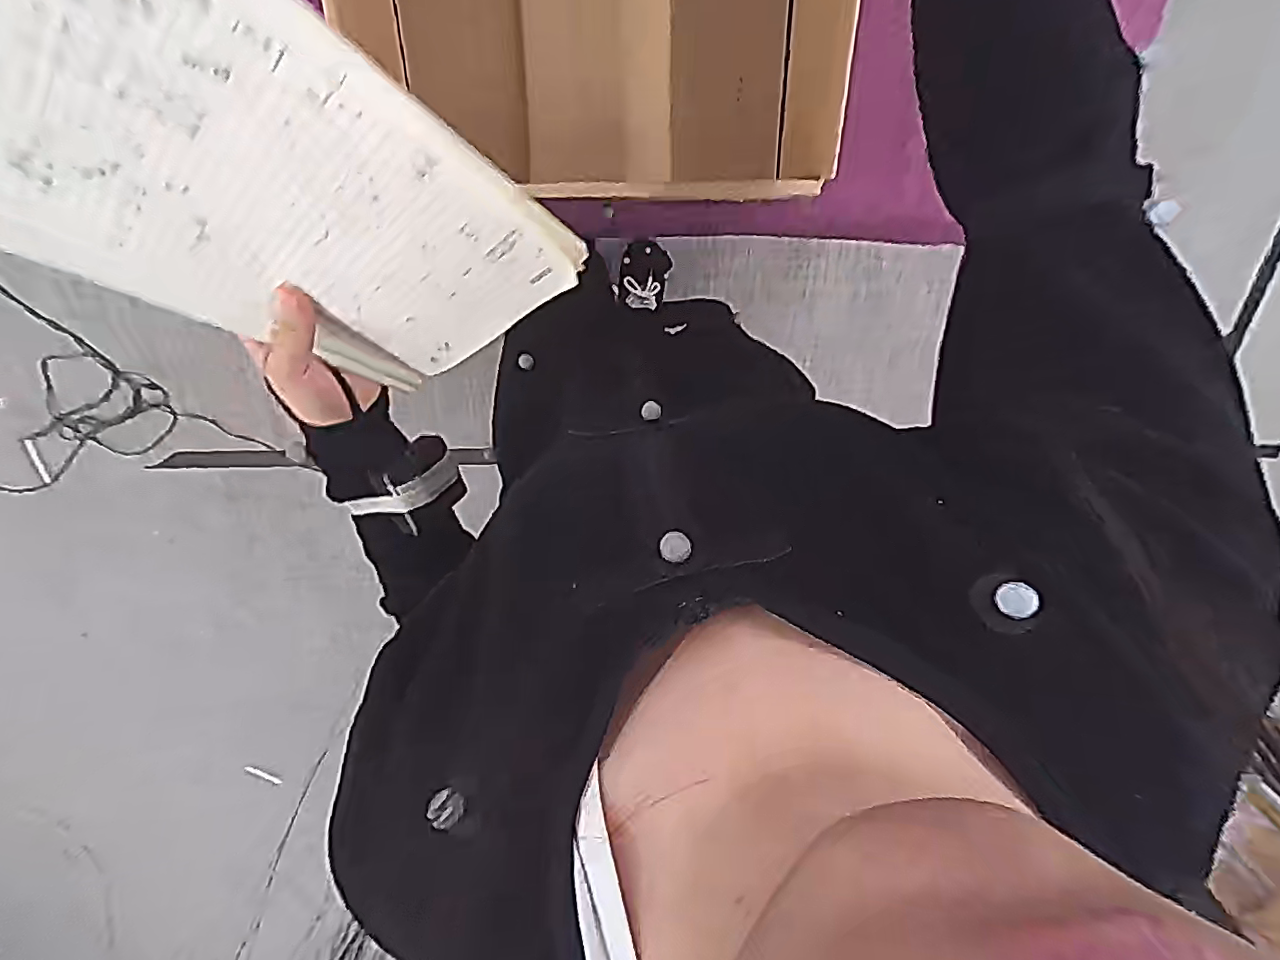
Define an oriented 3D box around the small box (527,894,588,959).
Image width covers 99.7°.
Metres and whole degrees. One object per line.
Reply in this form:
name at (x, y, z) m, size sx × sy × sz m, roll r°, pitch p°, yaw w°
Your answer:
small box at (-0.253, 1.429, 1.684) m, size 0.179 × 0.176 × 0.168 m, roll 1°, pitch 118°, yaw -6°
